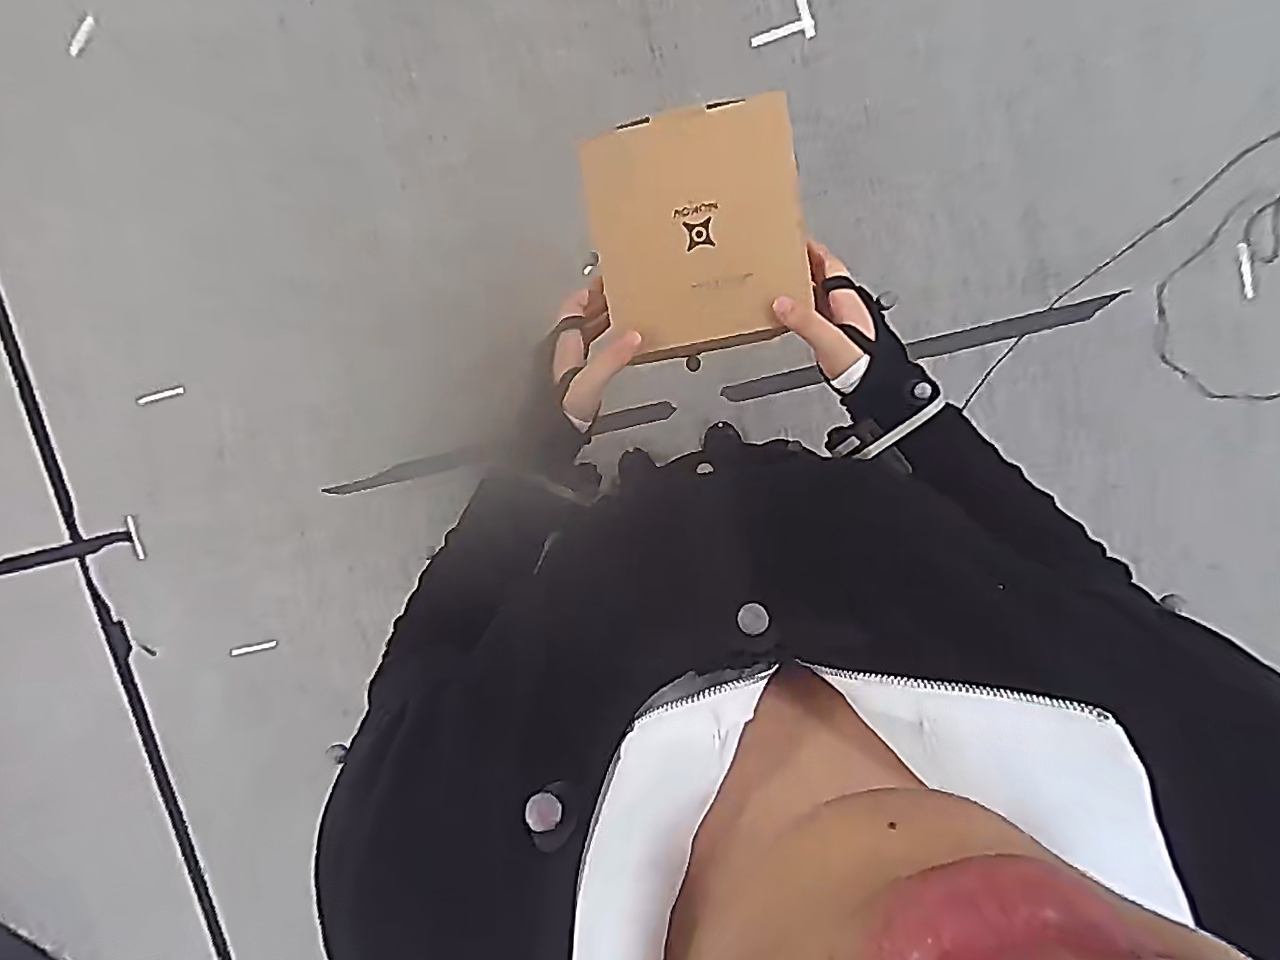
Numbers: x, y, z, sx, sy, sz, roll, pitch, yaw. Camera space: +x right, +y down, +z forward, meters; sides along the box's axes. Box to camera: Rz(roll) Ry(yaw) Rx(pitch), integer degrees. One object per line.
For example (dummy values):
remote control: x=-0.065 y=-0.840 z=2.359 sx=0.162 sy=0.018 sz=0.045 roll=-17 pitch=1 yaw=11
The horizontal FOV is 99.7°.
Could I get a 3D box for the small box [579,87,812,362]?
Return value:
small box: x=0.047 y=-0.214 z=0.505 sx=0.168 sy=0.176 sz=0.179 roll=-10 pitch=99 yaw=3
